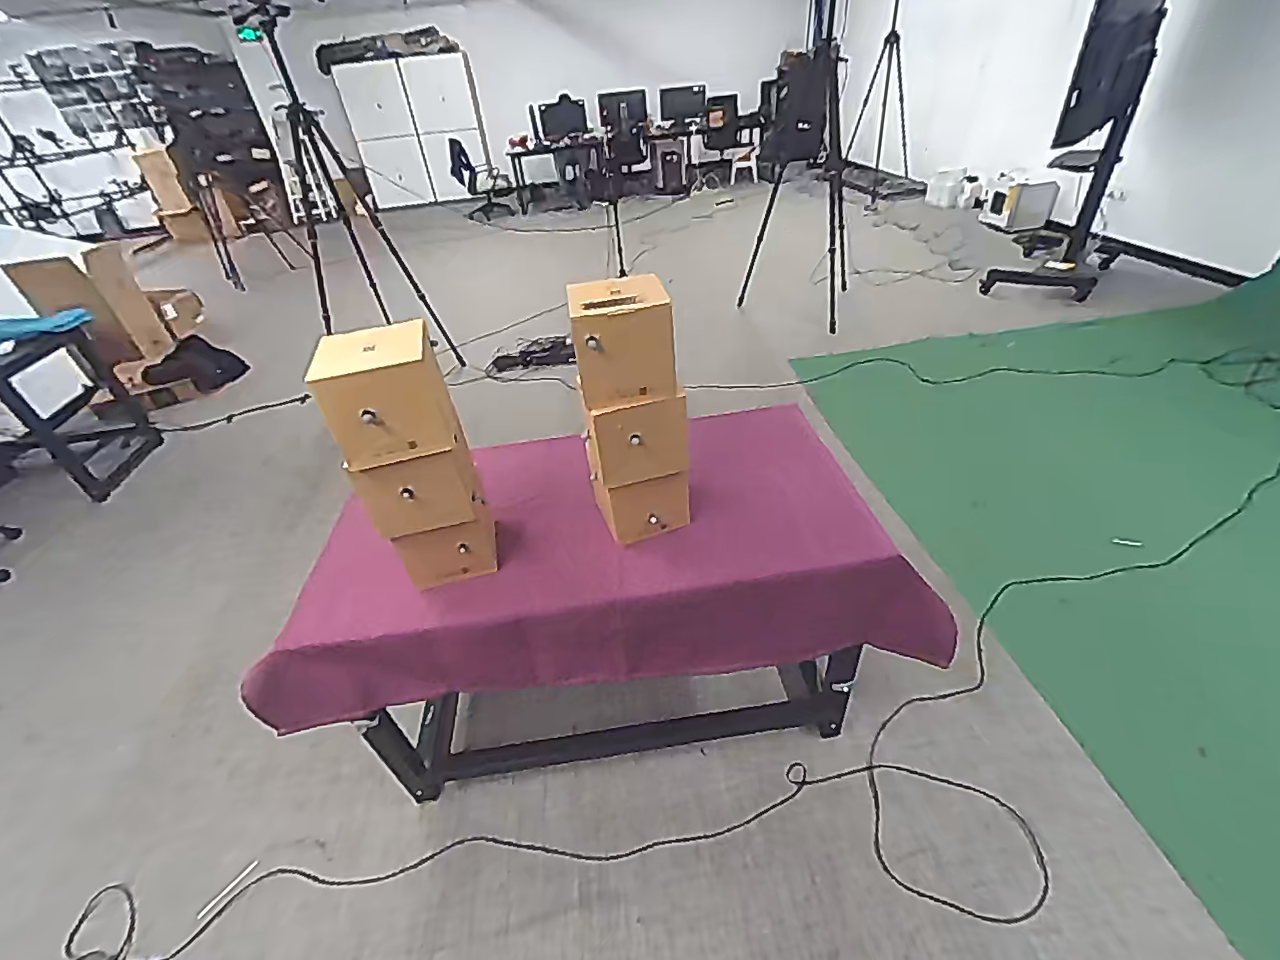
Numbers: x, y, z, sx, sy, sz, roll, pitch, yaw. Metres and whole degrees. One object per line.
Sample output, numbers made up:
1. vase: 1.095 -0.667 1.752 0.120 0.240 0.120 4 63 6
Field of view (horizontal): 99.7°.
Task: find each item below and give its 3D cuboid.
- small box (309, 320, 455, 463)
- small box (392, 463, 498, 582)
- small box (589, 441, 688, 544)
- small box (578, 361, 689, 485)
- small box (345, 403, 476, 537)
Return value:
1. small box: -0.414 -0.142 0.897 0.168 0.176 0.179 -14 38 -11
2. small box: -0.397 0.094 1.125 0.168 0.176 0.179 -11 37 -8
3. small box: -0.003 0.009 1.170 0.168 0.176 0.179 -16 38 -11
4. small box: -0.012 -0.109 1.055 0.179 0.176 0.168 -13 38 -8
5. small box: -0.410 -0.020 1.004 0.179 0.176 0.168 -12 38 -8
